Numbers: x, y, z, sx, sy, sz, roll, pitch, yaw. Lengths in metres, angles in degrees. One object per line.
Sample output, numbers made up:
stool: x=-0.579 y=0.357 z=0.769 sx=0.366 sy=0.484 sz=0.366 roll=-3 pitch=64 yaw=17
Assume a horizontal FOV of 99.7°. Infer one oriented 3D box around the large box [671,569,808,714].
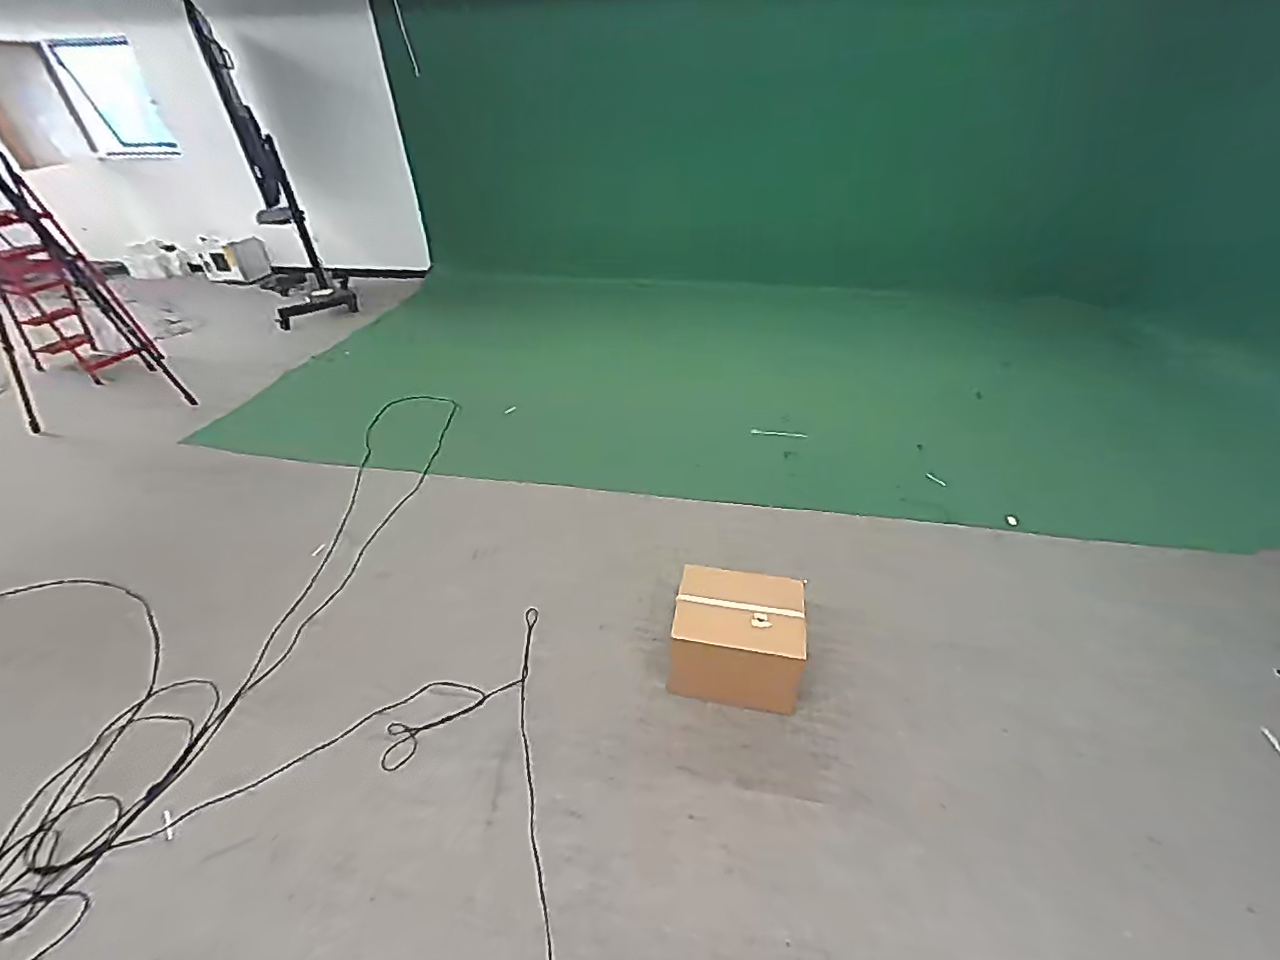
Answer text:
large box: x=0.323 y=0.535 z=1.808 sx=0.408 sy=0.320 sz=0.320 roll=7 pitch=38 yaw=10
